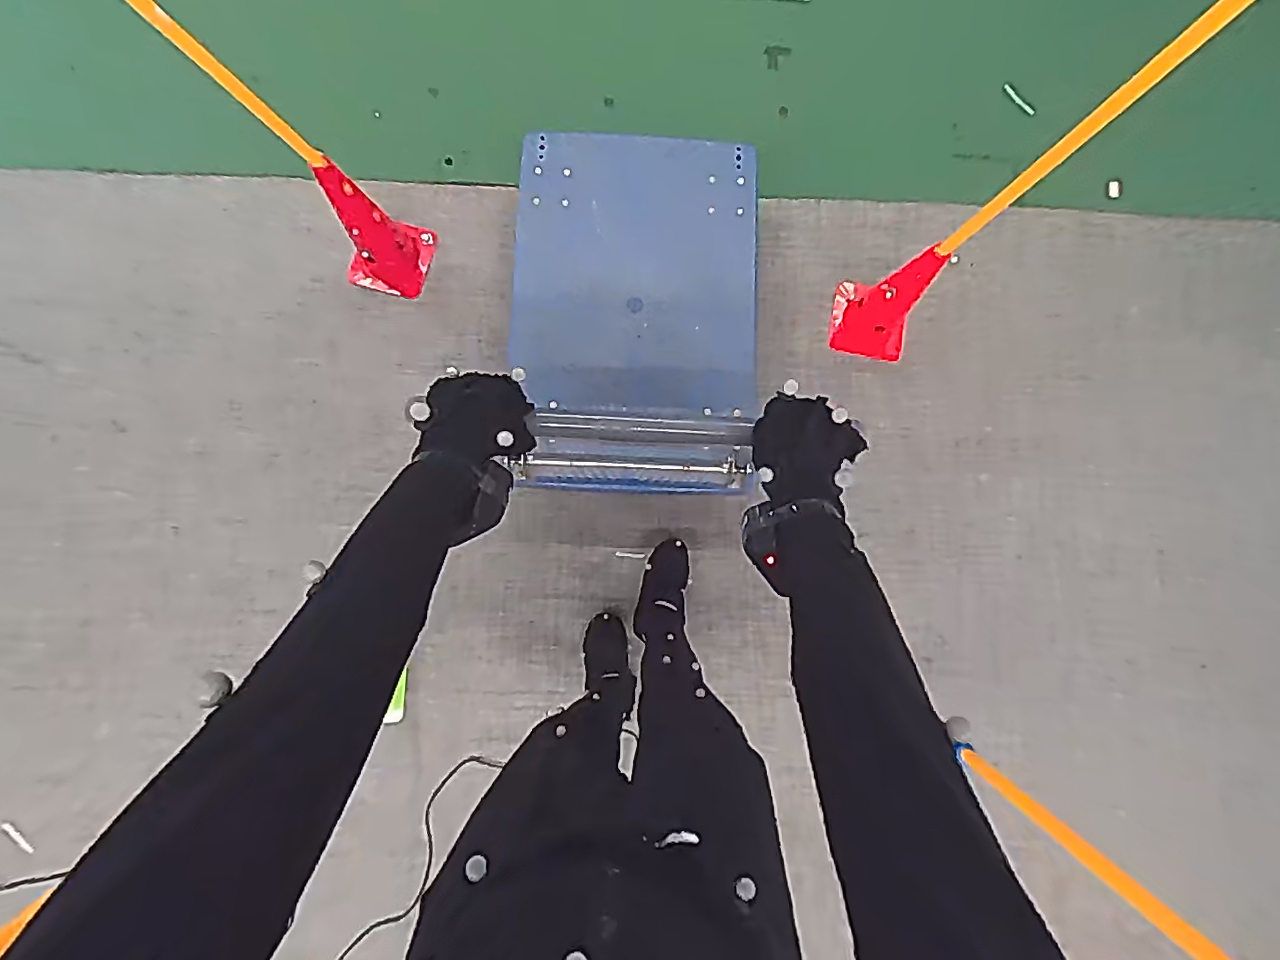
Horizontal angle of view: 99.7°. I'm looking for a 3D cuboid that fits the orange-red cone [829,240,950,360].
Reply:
[{"bbox_3d":[0.624,-0.455,1.293,0.198,0.360,0.199,13,83,1],"label":"orange-red cone"}]
